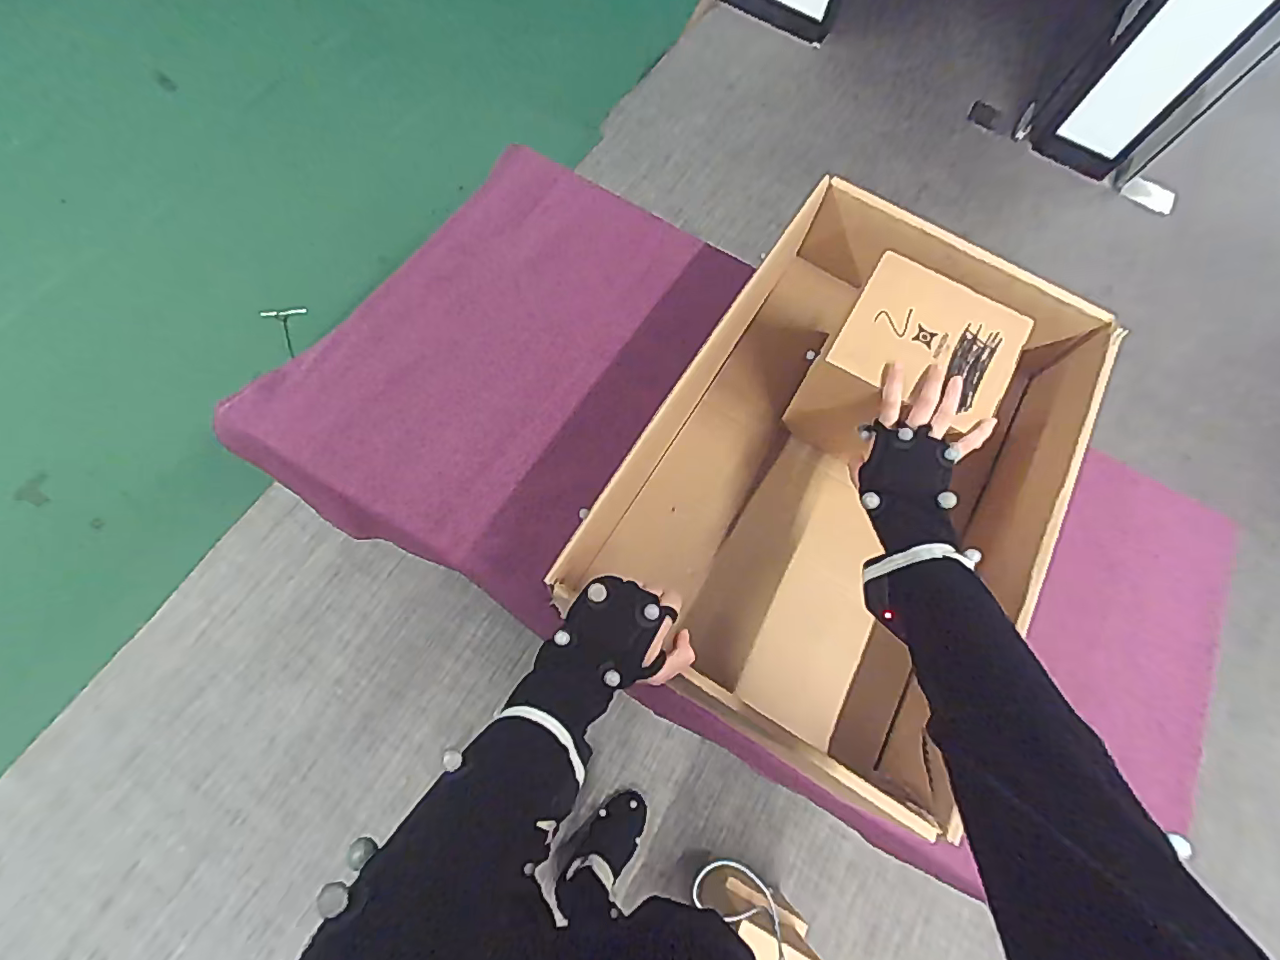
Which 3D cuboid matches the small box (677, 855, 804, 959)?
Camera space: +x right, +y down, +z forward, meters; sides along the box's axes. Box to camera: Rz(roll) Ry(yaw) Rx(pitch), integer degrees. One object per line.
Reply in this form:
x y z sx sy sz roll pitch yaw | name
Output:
0.195 0.904 1.094 0.179 0.176 0.168 29 70 6 | small box
